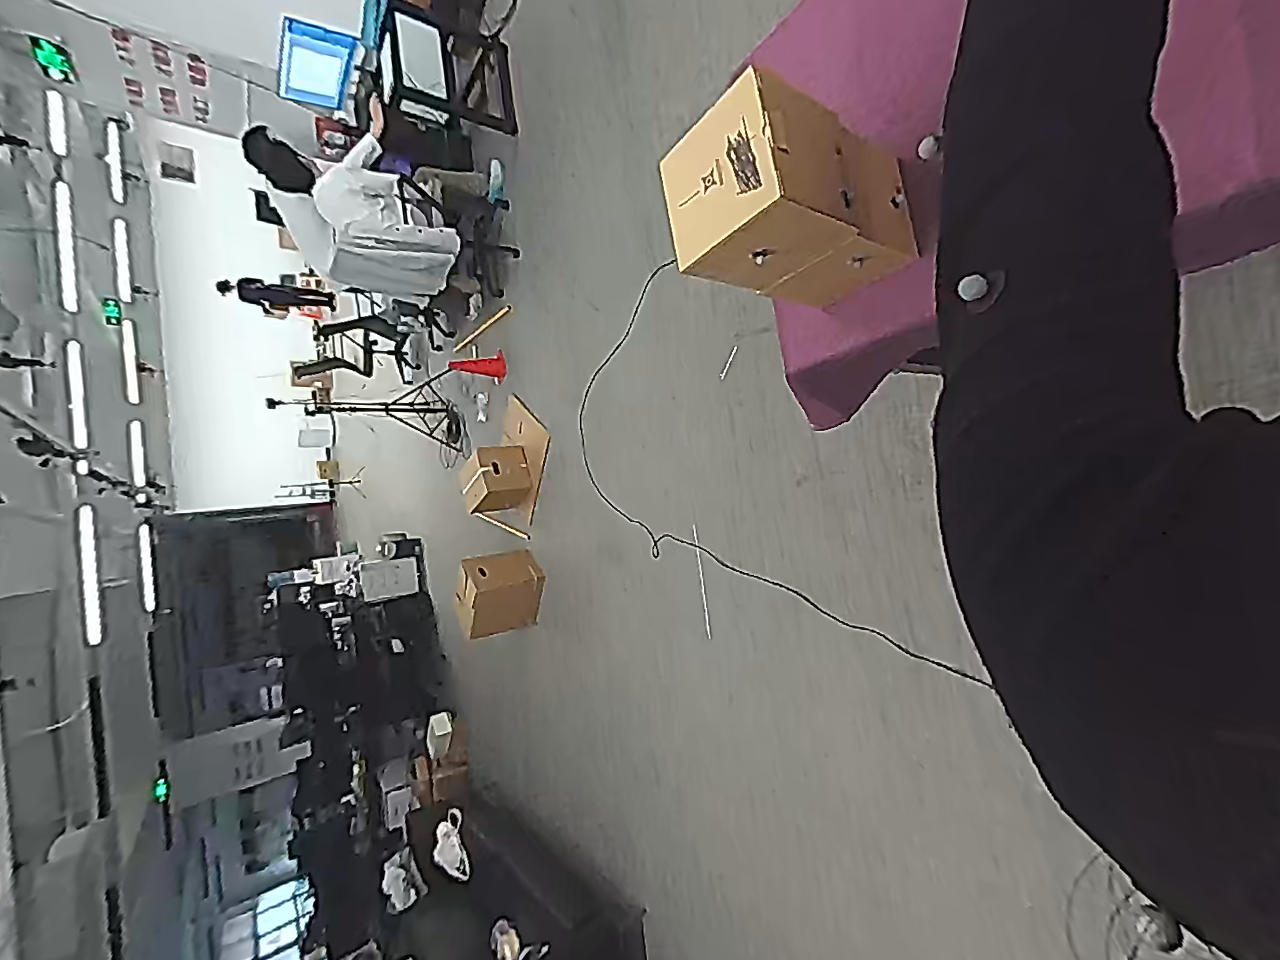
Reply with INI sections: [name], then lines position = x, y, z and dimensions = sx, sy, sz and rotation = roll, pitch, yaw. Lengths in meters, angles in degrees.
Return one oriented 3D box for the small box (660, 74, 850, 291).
[small box]
position = 0.155, -0.374, 0.719
dimensions = 0.179, 0.176, 0.168
rotation = -18, 79, 52
